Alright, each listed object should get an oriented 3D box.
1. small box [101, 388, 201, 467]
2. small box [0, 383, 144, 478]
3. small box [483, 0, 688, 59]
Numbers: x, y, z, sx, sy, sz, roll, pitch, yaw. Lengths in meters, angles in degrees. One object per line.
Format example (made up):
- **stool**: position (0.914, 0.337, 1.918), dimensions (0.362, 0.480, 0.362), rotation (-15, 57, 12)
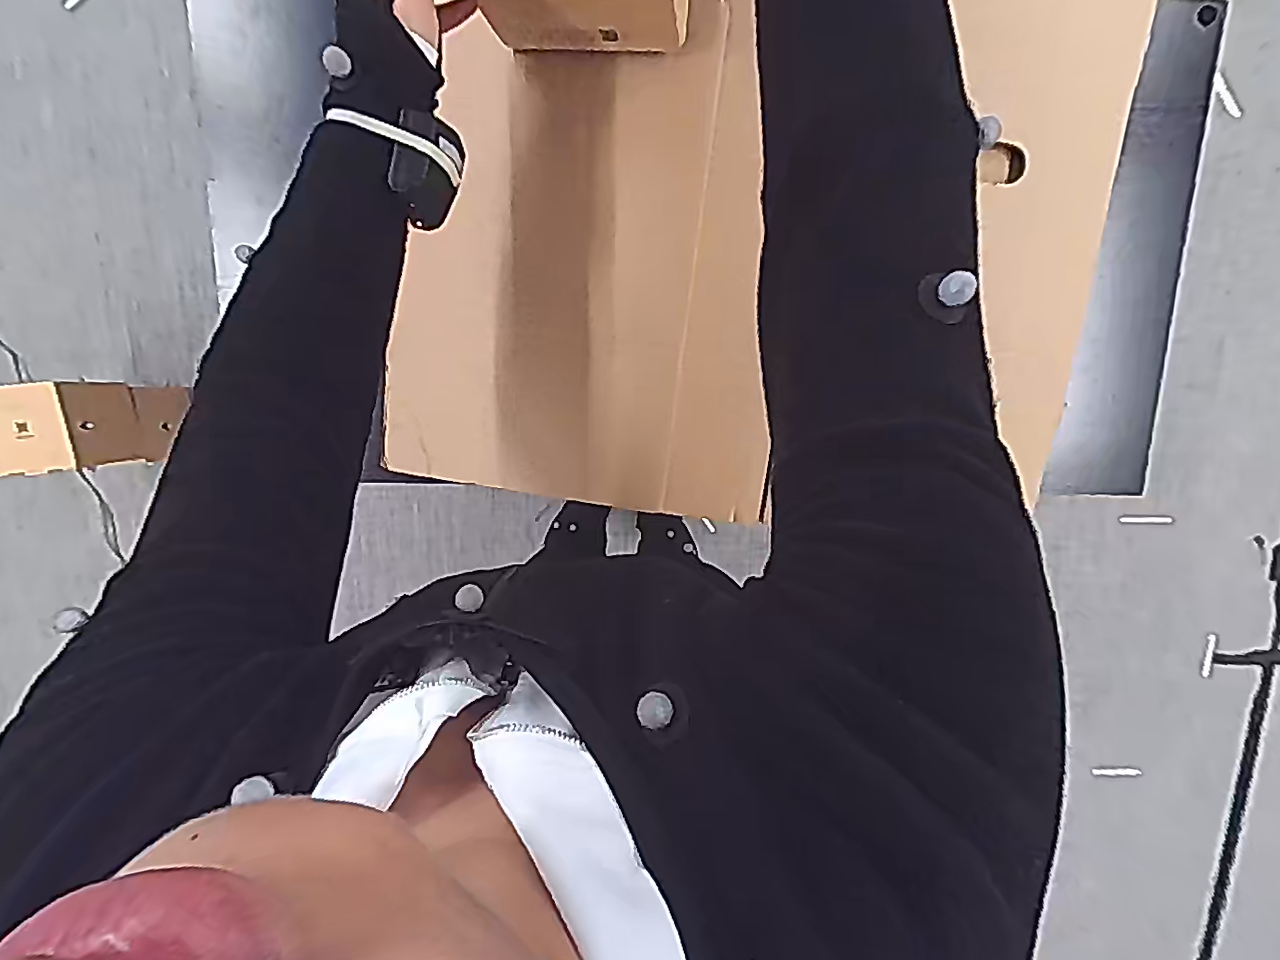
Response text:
- **small box**: position (-1.210, -0.129, 1.299), dimensions (0.168, 0.176, 0.179), rotation (-3, 100, -2)
- **small box**: position (-1.205, -0.109, 1.138), dimensions (0.168, 0.176, 0.179), rotation (-6, 98, -2)
- **small box**: position (-0.046, -0.448, 0.382), dimensions (0.168, 0.176, 0.179), rotation (8, 99, 9)
